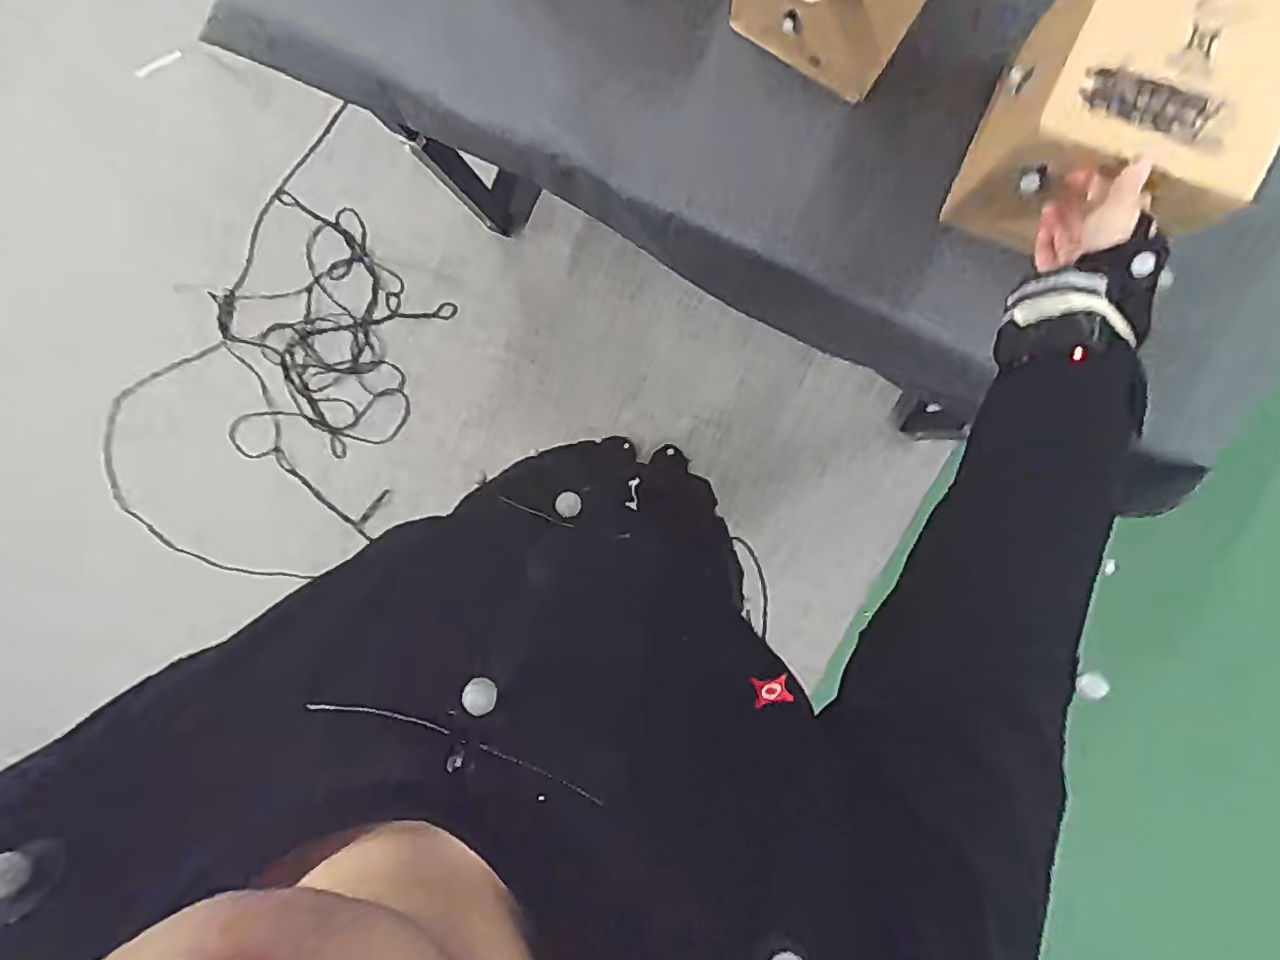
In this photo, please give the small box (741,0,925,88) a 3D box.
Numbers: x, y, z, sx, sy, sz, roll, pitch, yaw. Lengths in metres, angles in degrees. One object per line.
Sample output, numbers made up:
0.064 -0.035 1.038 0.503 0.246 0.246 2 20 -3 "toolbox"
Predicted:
0.203 -0.507 0.471 0.168 0.176 0.179 33 97 0 "small box"
